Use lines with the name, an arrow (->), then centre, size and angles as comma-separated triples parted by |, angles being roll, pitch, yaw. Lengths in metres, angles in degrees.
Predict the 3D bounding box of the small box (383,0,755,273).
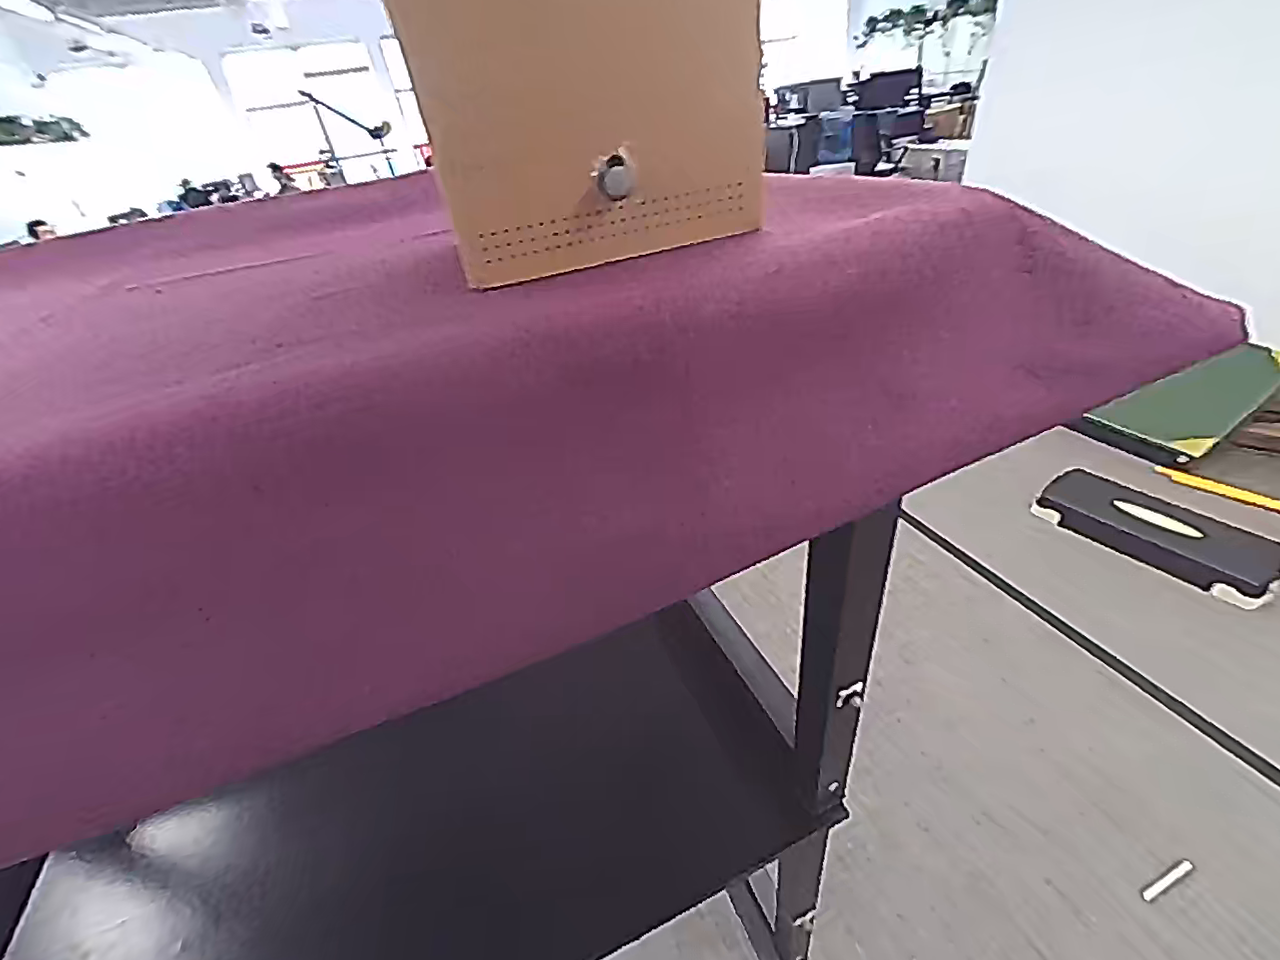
small box -> -0.043, -0.238, 0.320 | 0.179, 0.176, 0.168 | -16, 35, -10
